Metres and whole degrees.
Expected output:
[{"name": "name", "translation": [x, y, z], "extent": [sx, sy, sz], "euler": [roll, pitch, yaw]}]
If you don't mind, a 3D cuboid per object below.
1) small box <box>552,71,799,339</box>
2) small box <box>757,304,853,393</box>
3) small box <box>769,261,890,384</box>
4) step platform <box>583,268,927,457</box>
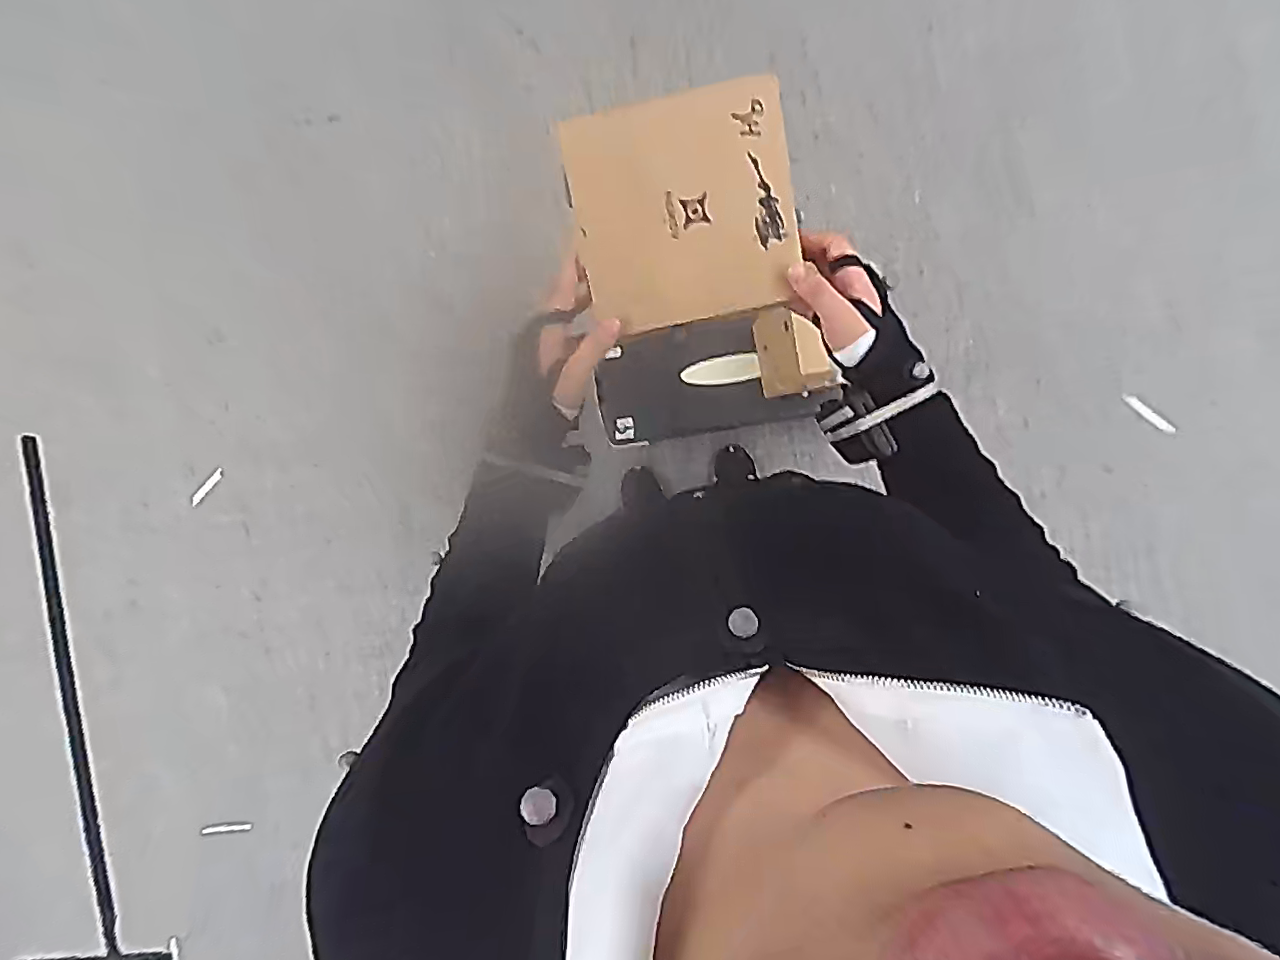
[{"name": "small box", "translation": [0.032, -0.233, 0.508], "extent": [0.179, 0.176, 0.168], "euler": [-11, 102, 2]}, {"name": "small box", "translation": [0.355, -0.296, 1.205], "extent": [0.168, 0.176, 0.179], "euler": [-10, 92, 4]}, {"name": "small box", "translation": [0.354, -0.293, 1.040], "extent": [0.168, 0.176, 0.179], "euler": [-10, 93, 4]}, {"name": "step platform", "translation": [0.229, -0.238, 1.179], "extent": [0.684, 0.204, 0.286], "euler": [-9, 91, 3]}]
